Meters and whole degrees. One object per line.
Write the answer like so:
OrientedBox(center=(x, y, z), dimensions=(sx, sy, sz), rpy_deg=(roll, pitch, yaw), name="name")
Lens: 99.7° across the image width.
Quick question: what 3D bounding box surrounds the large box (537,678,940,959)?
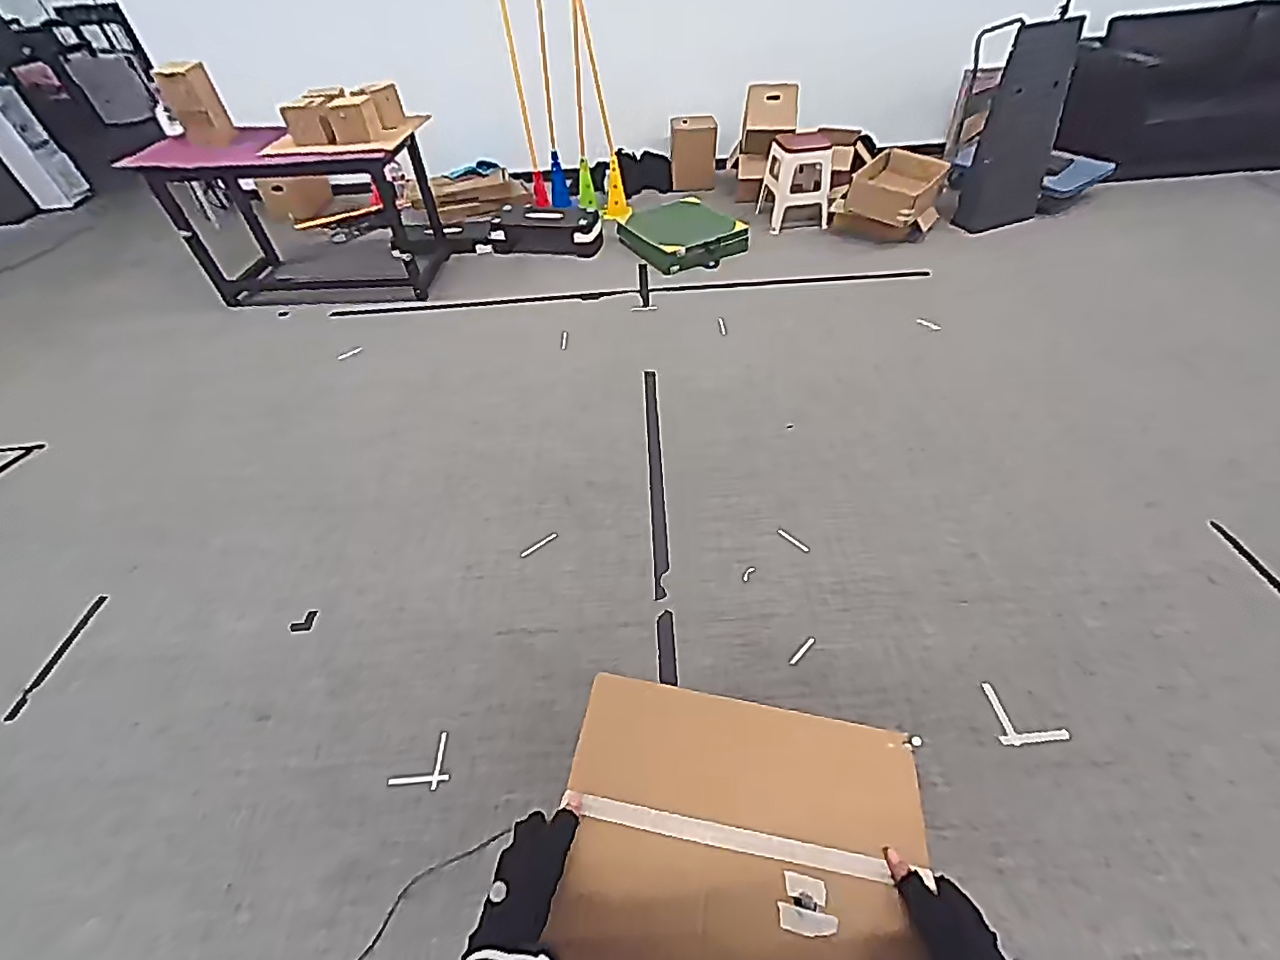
OrientedBox(center=(0.110, 0.505, 0.711), dimensions=(0.408, 0.320, 0.320), rpy_deg=(9, 46, 6), name="large box")
